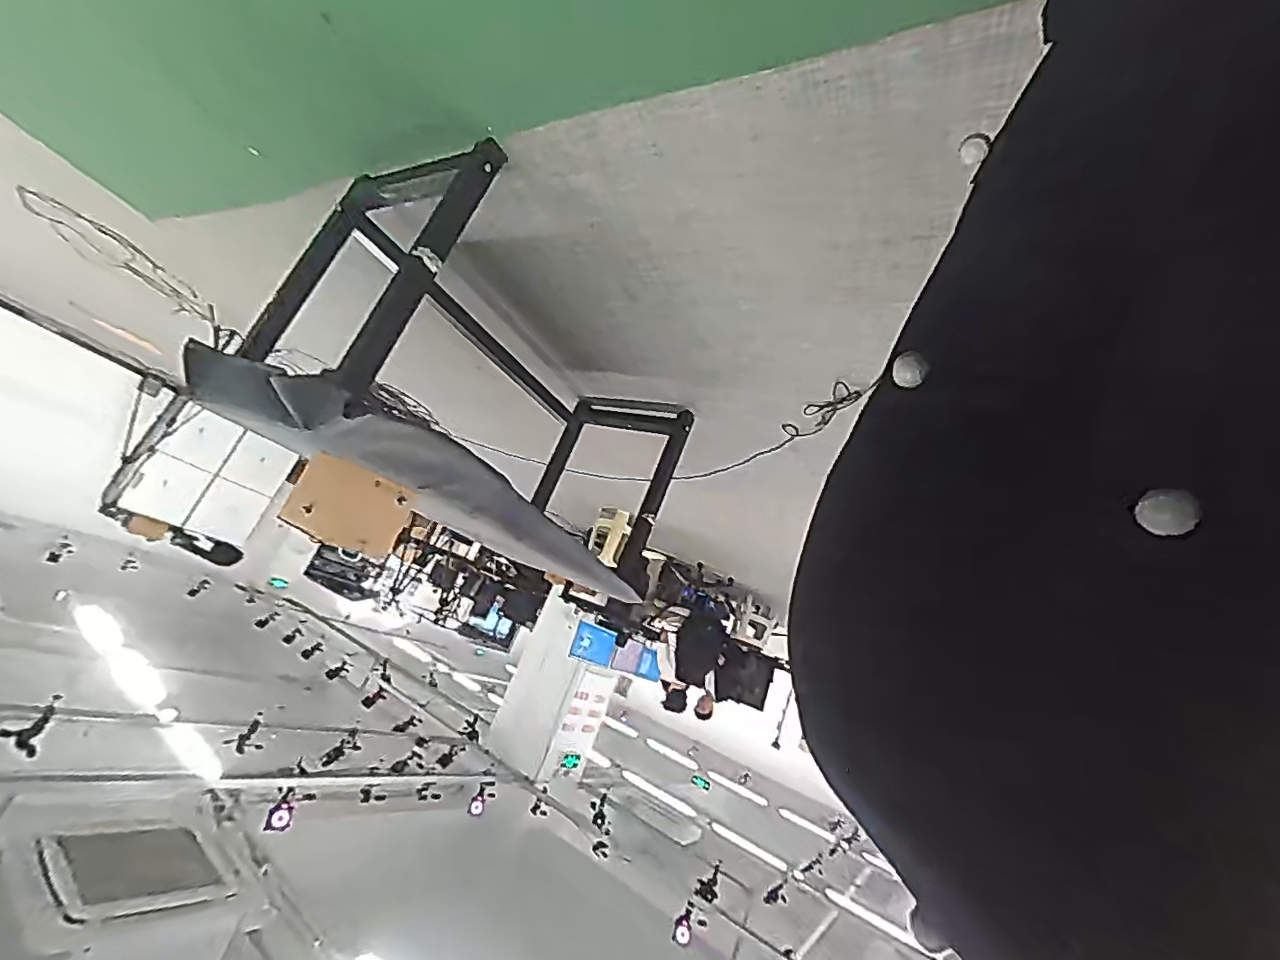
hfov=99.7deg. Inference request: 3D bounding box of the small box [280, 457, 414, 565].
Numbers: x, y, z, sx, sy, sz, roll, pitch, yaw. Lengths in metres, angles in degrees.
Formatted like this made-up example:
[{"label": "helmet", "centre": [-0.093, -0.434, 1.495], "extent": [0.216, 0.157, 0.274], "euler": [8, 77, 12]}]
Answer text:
[{"label": "small box", "centre": [-0.625, 0.064, 1.175], "extent": [0.179, 0.176, 0.168], "euler": [14, 162, 34]}]
